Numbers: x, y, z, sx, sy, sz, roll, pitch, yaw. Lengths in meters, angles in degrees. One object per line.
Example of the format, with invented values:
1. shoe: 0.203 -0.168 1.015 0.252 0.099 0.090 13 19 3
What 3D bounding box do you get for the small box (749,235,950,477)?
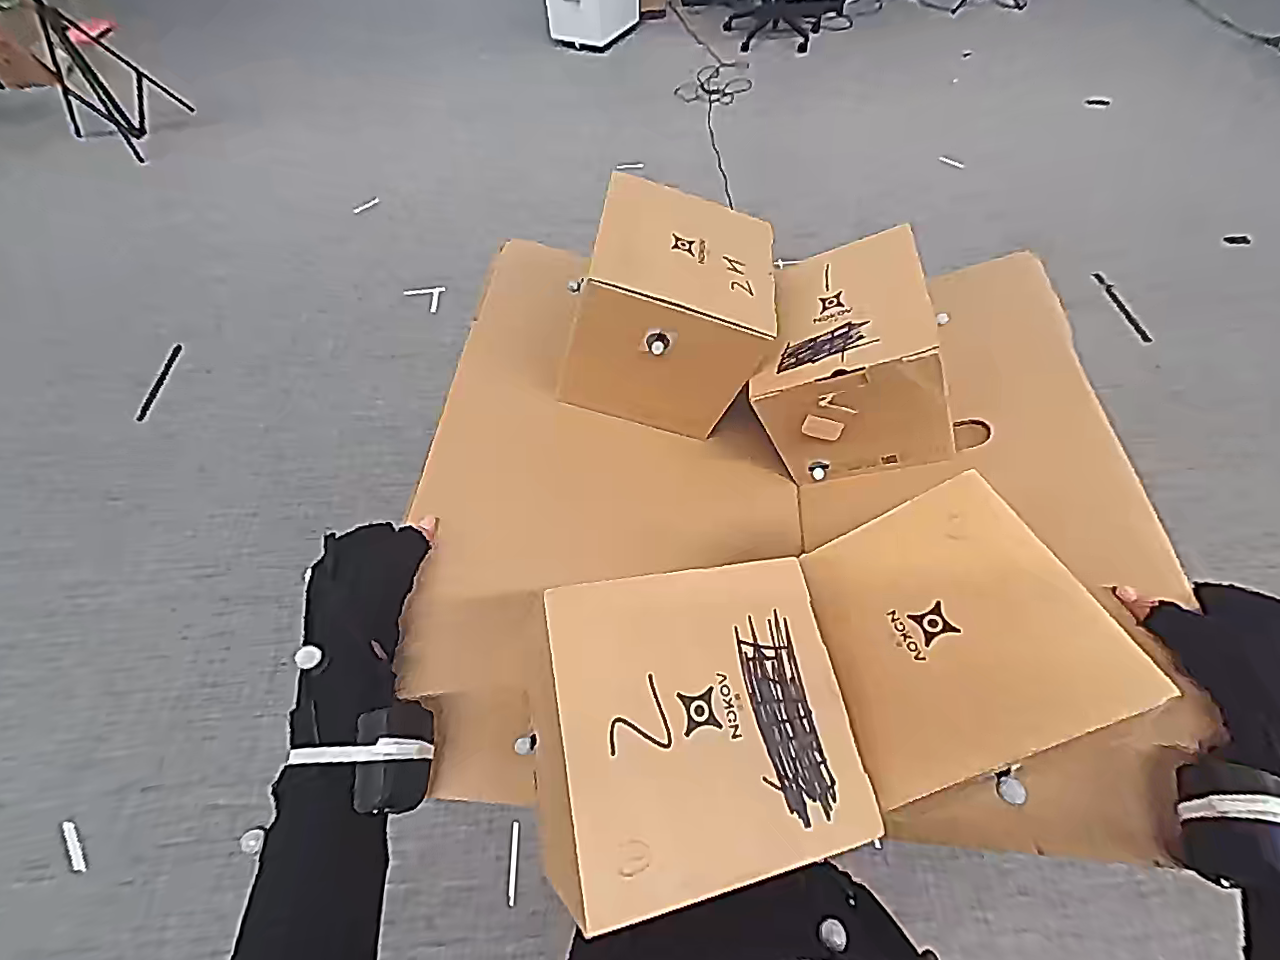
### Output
1. small box: 0.226 -0.117 0.586 0.168 0.176 0.179 -11 53 28
